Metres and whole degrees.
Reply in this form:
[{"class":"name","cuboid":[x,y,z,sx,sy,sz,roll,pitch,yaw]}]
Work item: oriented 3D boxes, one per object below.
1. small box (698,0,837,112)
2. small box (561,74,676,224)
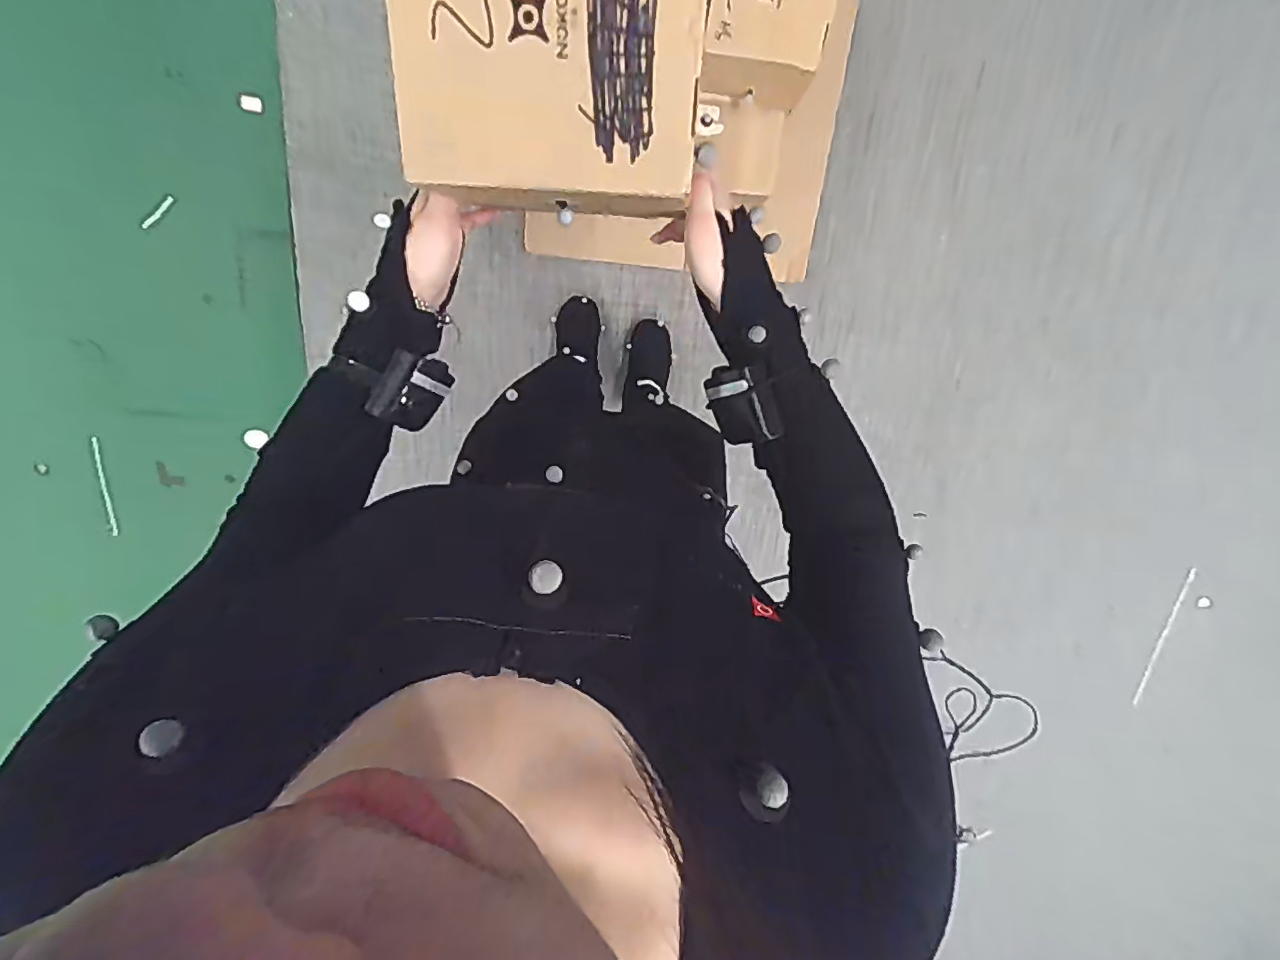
[{"class":"small box","cuboid":[0.195,-0.707,0.849,0.179,0.176,0.168,10,109,0]},{"class":"small box","cuboid":[-0.035,-0.546,0.915,0.168,0.176,0.179,7,110,0]}]
